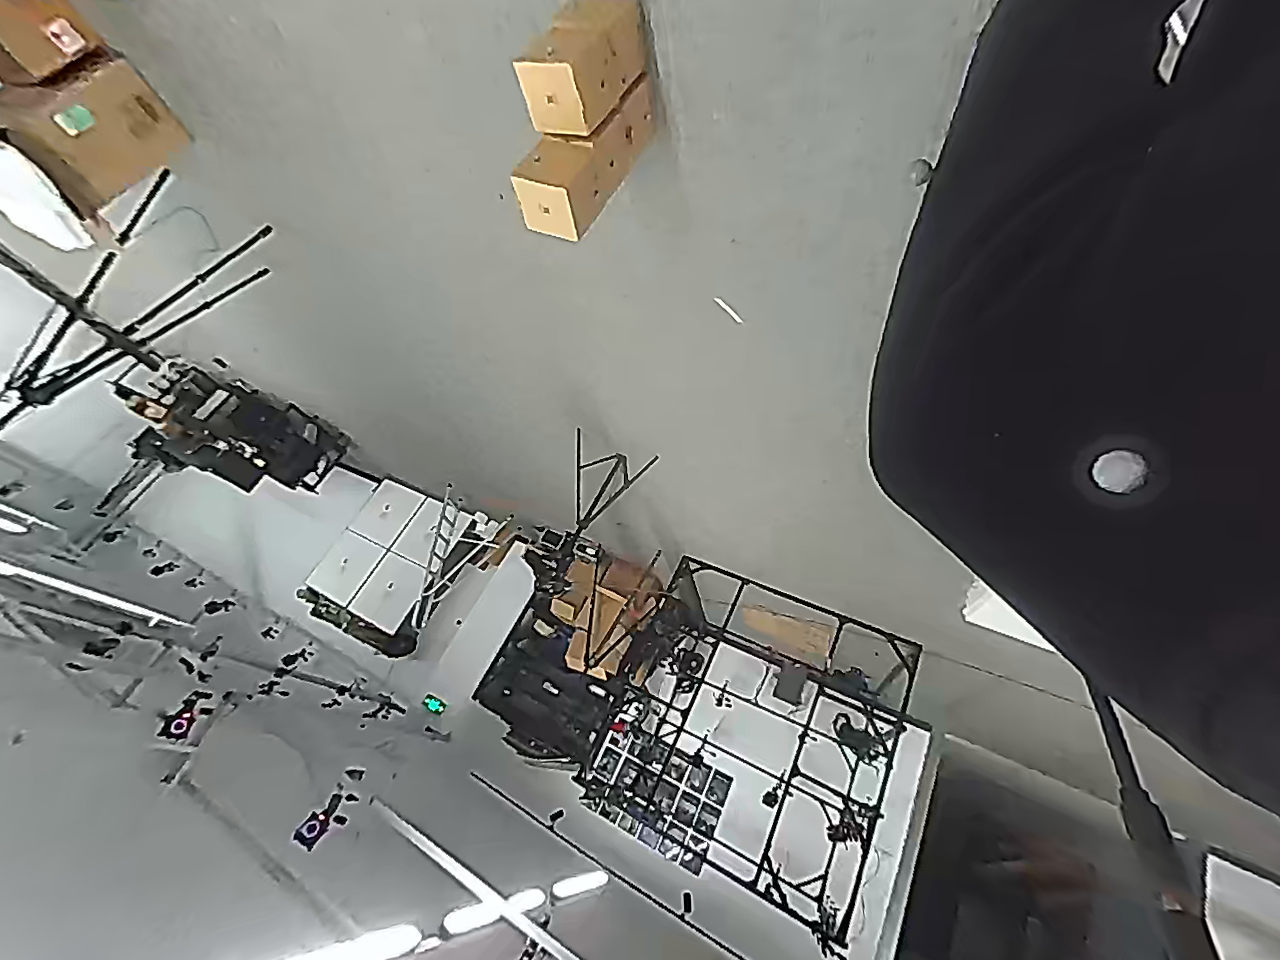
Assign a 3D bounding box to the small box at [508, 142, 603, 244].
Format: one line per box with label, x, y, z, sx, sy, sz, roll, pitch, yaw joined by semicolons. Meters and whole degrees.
small box;-0.225;-0.785;1.475;0.179;0.176;0.168;22;158;16
